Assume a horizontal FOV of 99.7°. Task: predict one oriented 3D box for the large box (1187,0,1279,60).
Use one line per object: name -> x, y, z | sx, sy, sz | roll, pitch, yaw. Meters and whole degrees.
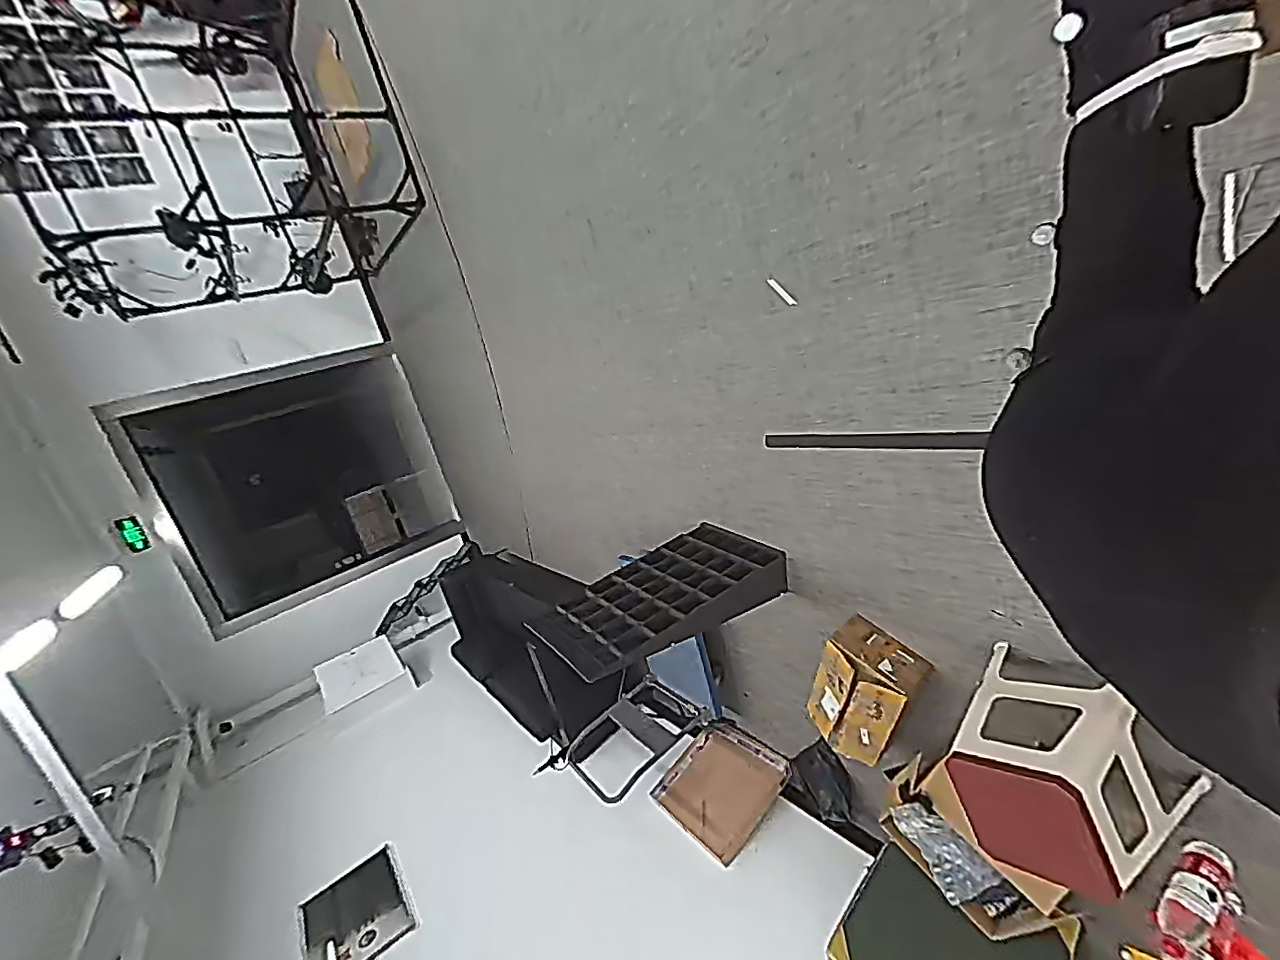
large box -> 0.560, -0.487, 0.250 | 0.408, 0.320, 0.320 | 7, 115, 53
